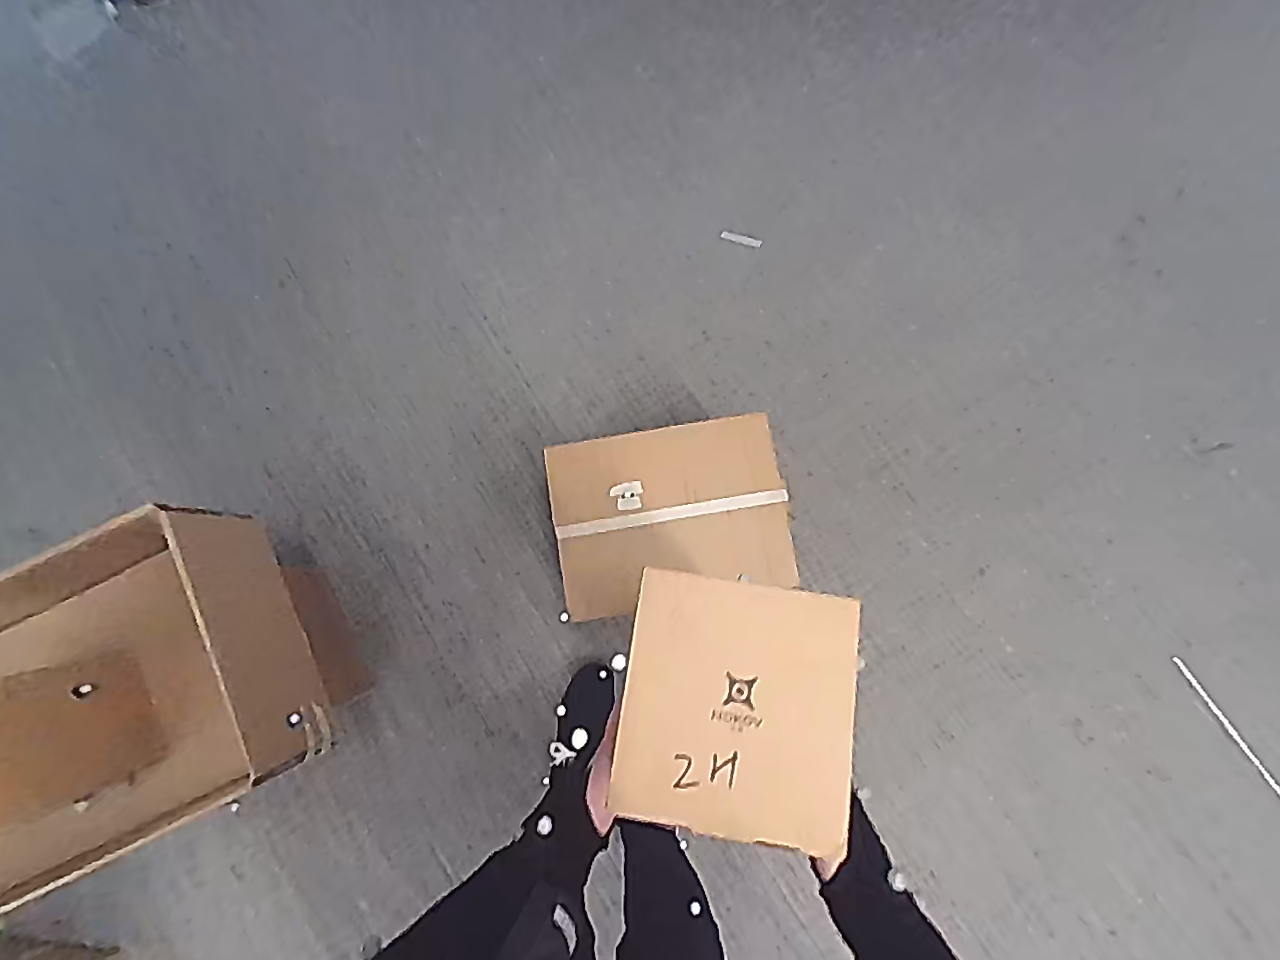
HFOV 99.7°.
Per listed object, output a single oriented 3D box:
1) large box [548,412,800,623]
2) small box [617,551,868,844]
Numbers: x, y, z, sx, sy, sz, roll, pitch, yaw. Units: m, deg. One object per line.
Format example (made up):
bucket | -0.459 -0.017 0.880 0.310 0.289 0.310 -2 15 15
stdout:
large box | 0.063 0.079 1.085 0.408 0.320 0.320 -9 82 2
small box | 0.082 0.172 0.469 0.168 0.176 0.179 9 75 6
